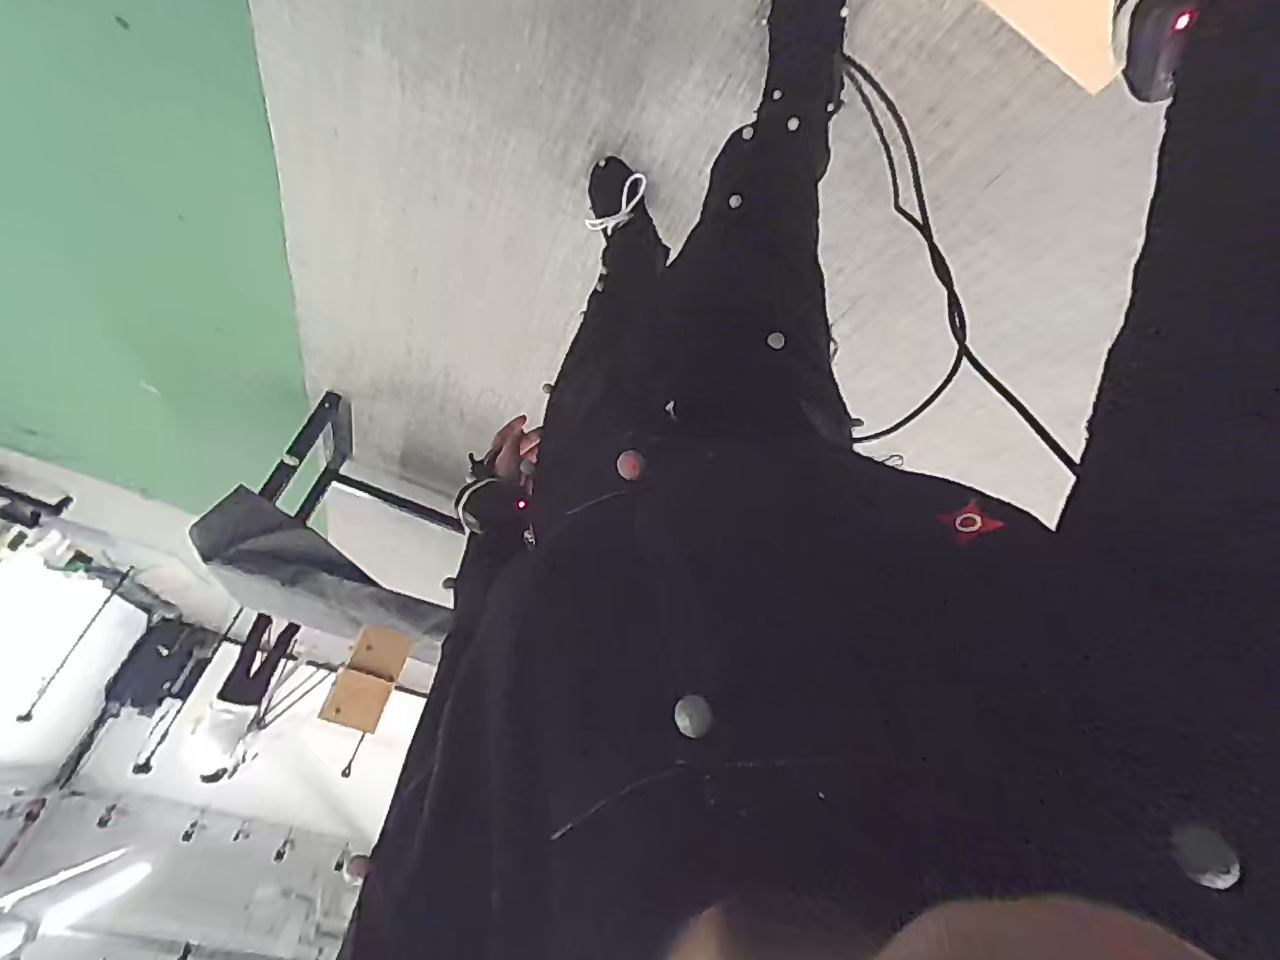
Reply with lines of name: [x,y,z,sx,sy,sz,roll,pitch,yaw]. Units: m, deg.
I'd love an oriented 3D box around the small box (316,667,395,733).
small box: [-0.959,0.742,1.829,0.179,0.176,0.168,30,147,-23]

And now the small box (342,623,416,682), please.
small box: [-0.931,0.616,1.929,0.179,0.176,0.168,28,148,-22]
